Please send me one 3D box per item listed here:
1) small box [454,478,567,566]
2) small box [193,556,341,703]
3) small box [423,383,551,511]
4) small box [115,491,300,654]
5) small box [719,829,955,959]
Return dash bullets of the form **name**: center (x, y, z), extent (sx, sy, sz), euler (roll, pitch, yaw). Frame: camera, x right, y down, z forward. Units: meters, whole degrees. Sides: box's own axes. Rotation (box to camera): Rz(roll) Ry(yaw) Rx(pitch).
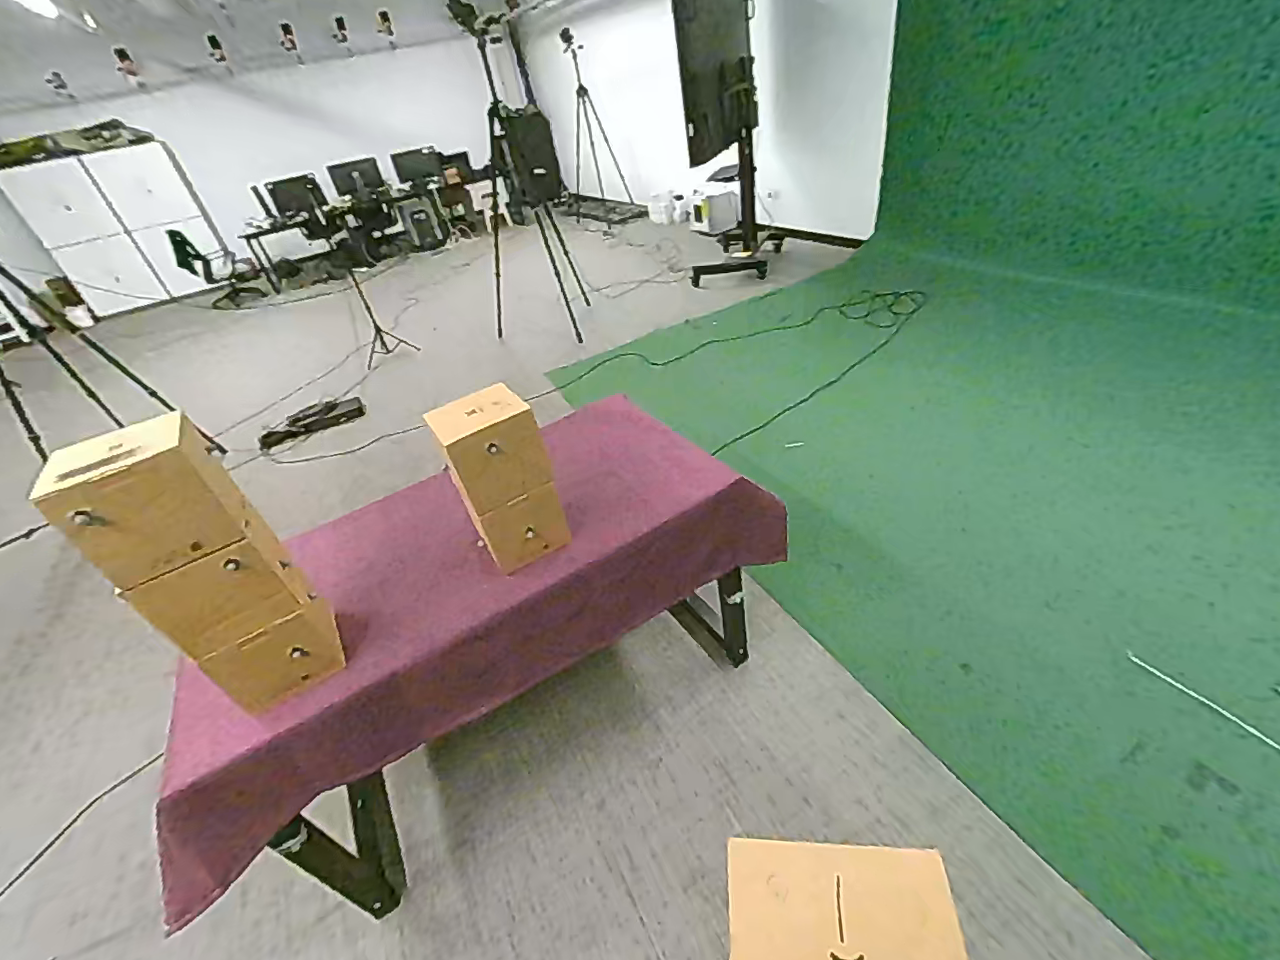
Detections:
- **small box**: center (-0.278, 0.064, 1.180), extent (0.168, 0.176, 0.179), euler (-27, 40, -20)
- **small box**: center (-0.679, 0.280, 0.999), extent (0.168, 0.176, 0.179), euler (-27, 38, -22)
- **small box**: center (-0.302, -0.067, 1.082), extent (0.179, 0.176, 0.168), euler (-27, 39, -20)
- **small box**: center (-0.708, 0.153, 0.902), extent (0.179, 0.176, 0.168), euler (-28, 39, -24)
- **small box**: center (0.152, 0.406, 0.438), extent (0.168, 0.176, 0.179), euler (-3, 46, 9)
